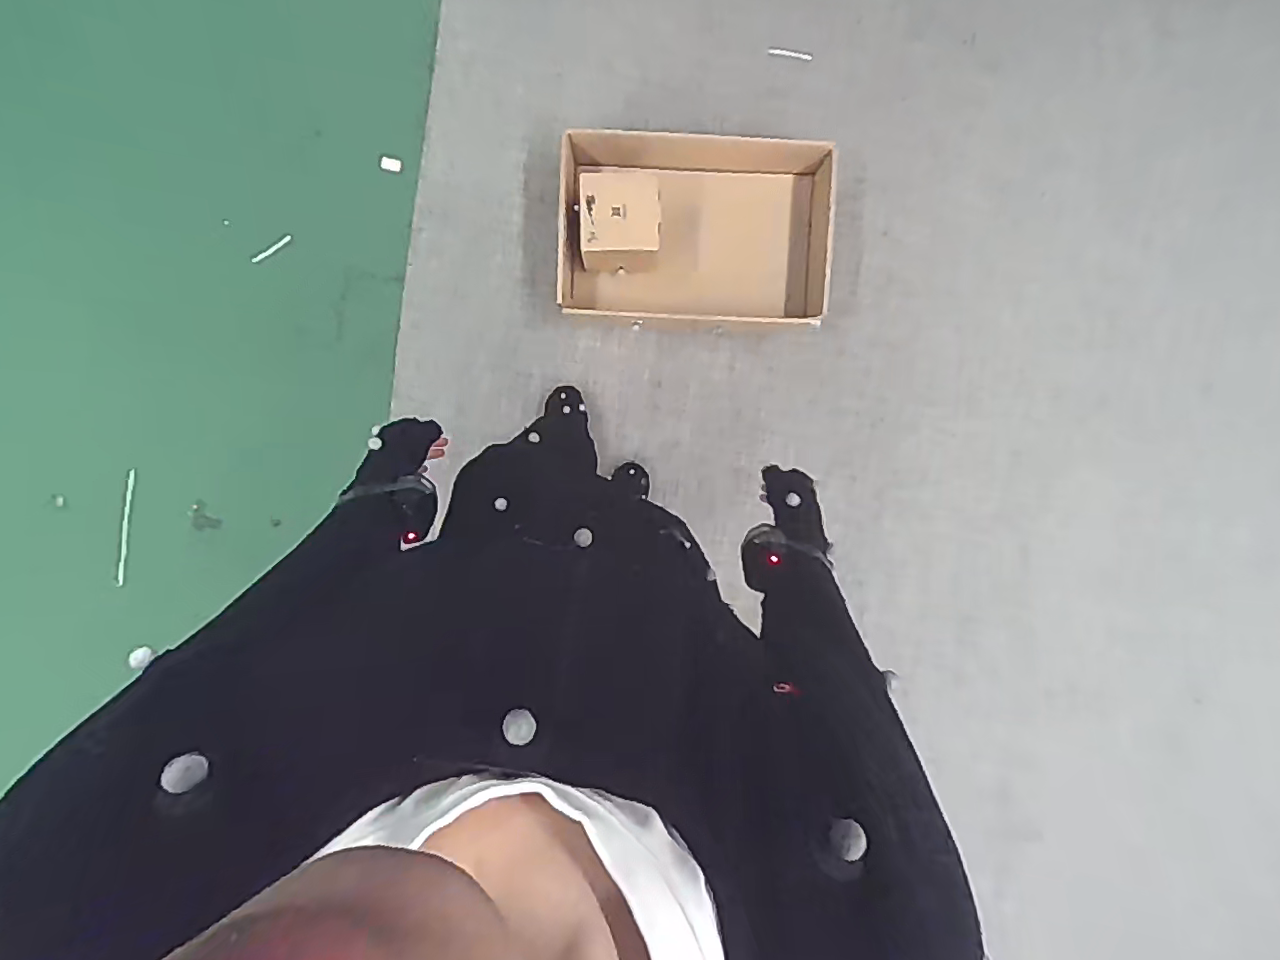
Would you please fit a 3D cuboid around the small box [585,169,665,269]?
[{"bbox_3d":[-0.038,-0.601,1.262,0.179,0.176,0.168,0,95,-2],"label":"small box"}]
